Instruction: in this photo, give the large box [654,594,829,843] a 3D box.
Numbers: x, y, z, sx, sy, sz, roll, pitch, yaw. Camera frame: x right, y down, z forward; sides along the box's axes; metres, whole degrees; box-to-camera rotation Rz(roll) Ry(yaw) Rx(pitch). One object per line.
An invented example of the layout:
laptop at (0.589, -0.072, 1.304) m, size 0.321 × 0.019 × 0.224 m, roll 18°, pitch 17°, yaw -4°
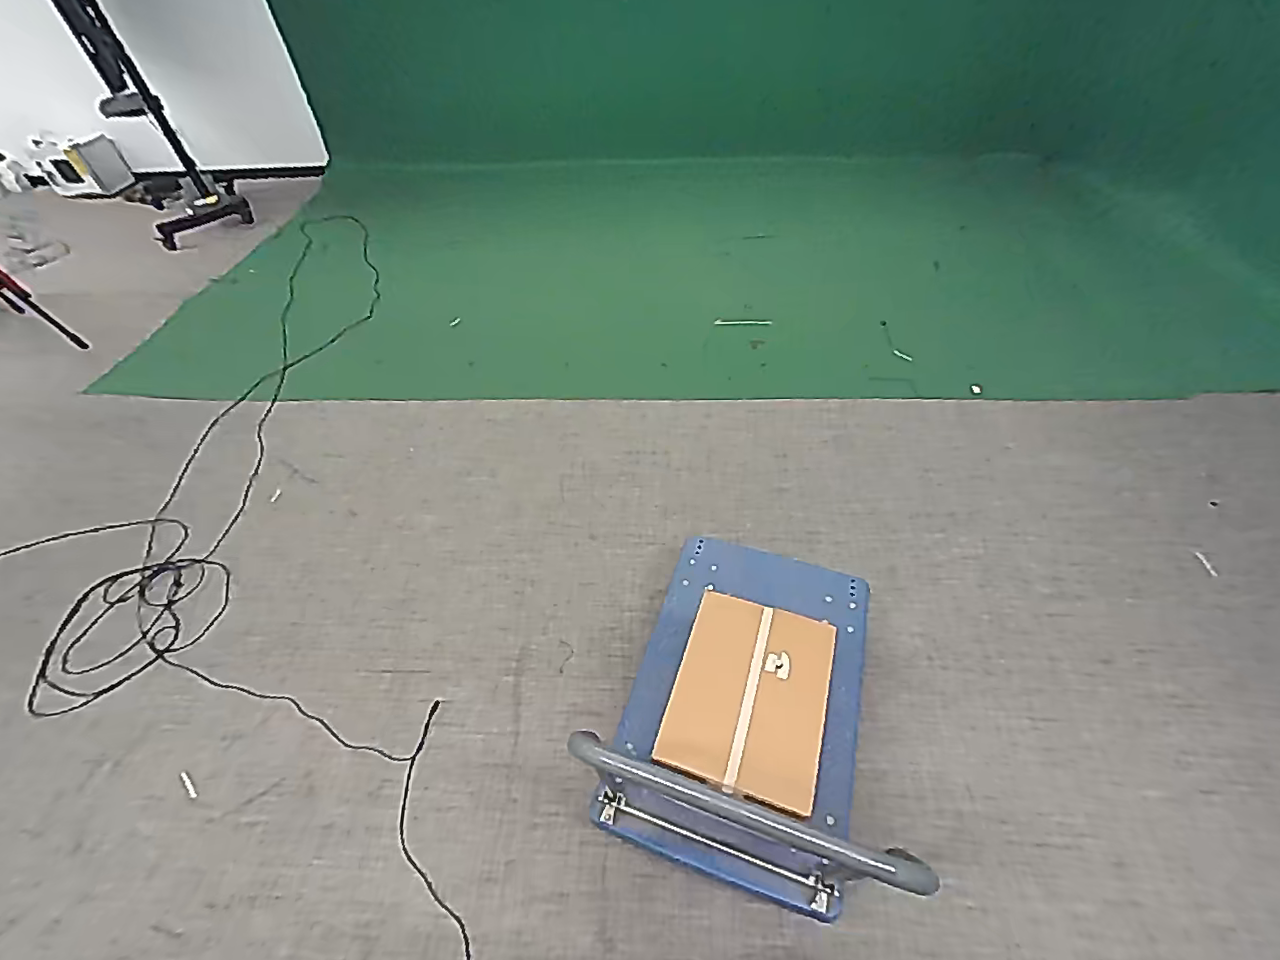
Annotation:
large box at (0.239, 0.553, 1.274) m, size 0.320 × 0.320 × 0.408 m, roll 14°, pitch 49°, yaw 15°
